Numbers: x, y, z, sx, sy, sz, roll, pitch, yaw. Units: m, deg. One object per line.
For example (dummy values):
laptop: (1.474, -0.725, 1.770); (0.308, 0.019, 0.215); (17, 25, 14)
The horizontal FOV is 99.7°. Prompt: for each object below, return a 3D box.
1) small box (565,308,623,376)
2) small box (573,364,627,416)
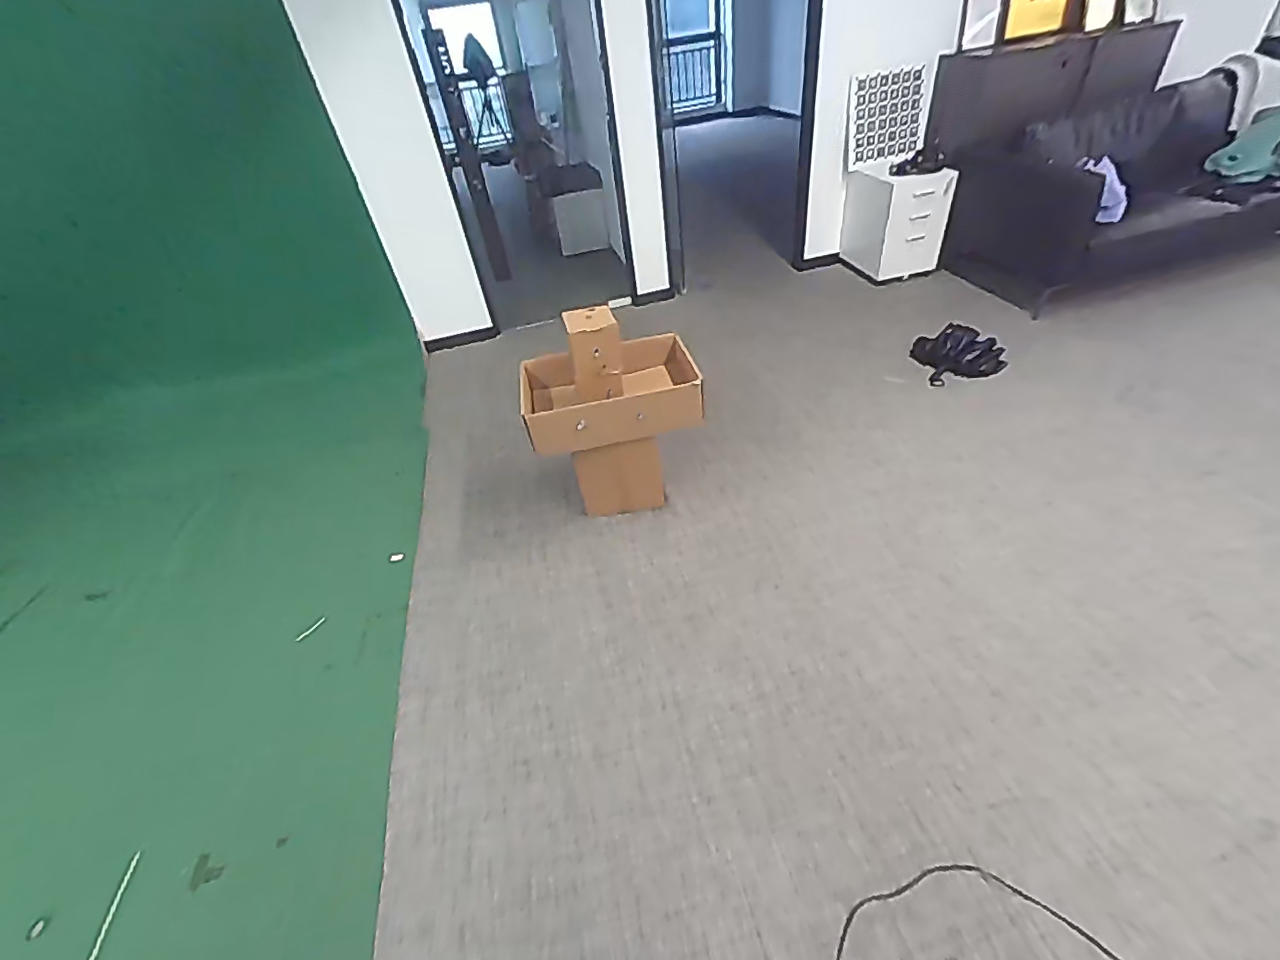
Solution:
small box: (-0.158, -0.475, 1.881); (0.168, 0.176, 0.179); (-12, 41, -8)
small box: (-0.146, -0.344, 1.979); (0.168, 0.176, 0.179); (-10, 38, -6)
